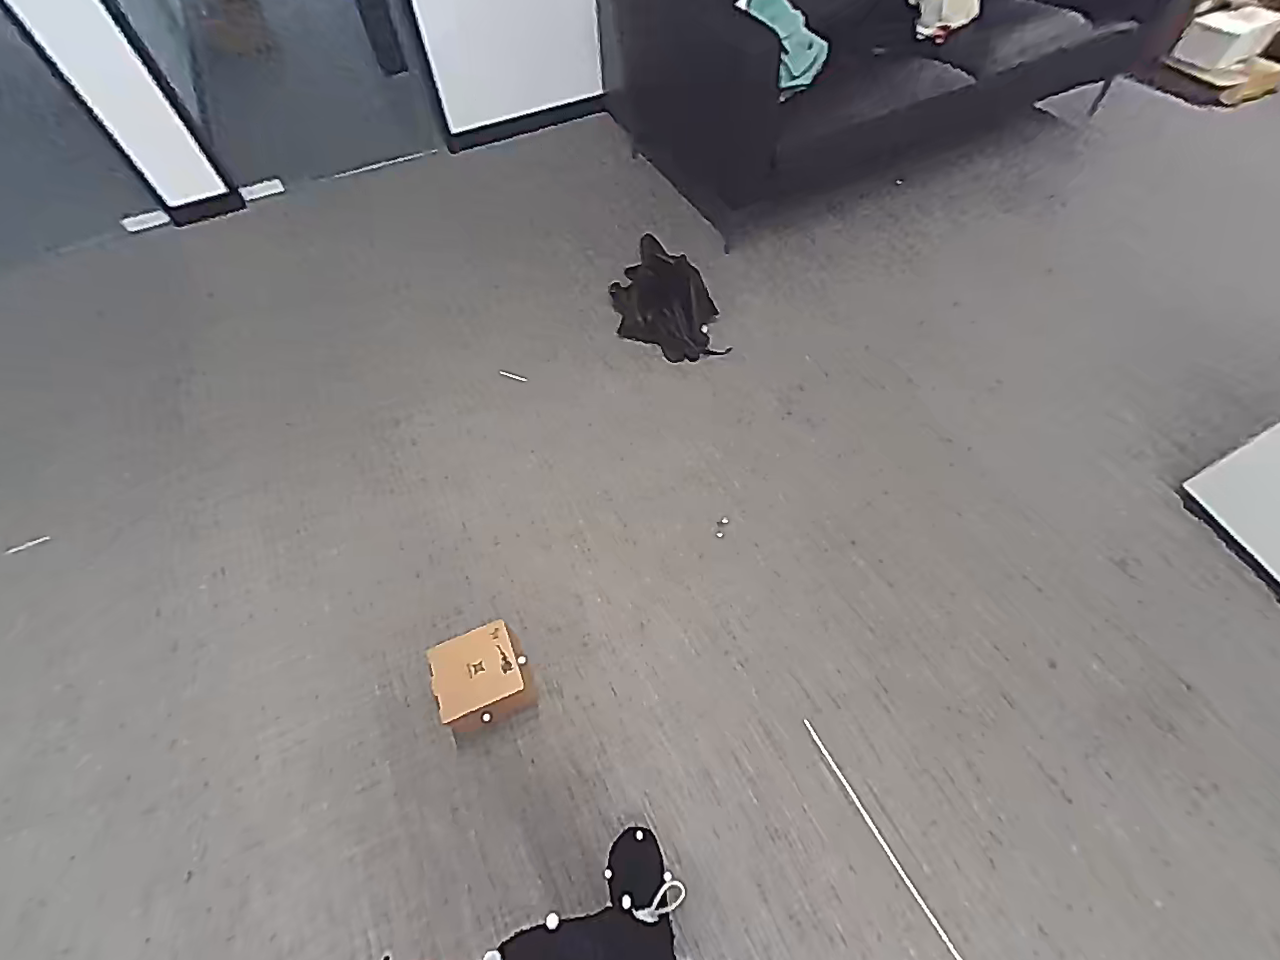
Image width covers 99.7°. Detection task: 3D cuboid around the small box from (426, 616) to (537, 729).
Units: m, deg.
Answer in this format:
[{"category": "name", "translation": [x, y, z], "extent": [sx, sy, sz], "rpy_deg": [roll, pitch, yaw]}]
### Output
[{"category": "small box", "translation": [-0.350, 0.435, 1.209], "extent": [0.179, 0.176, 0.168], "rpy_deg": [-21, 60, -11]}]
